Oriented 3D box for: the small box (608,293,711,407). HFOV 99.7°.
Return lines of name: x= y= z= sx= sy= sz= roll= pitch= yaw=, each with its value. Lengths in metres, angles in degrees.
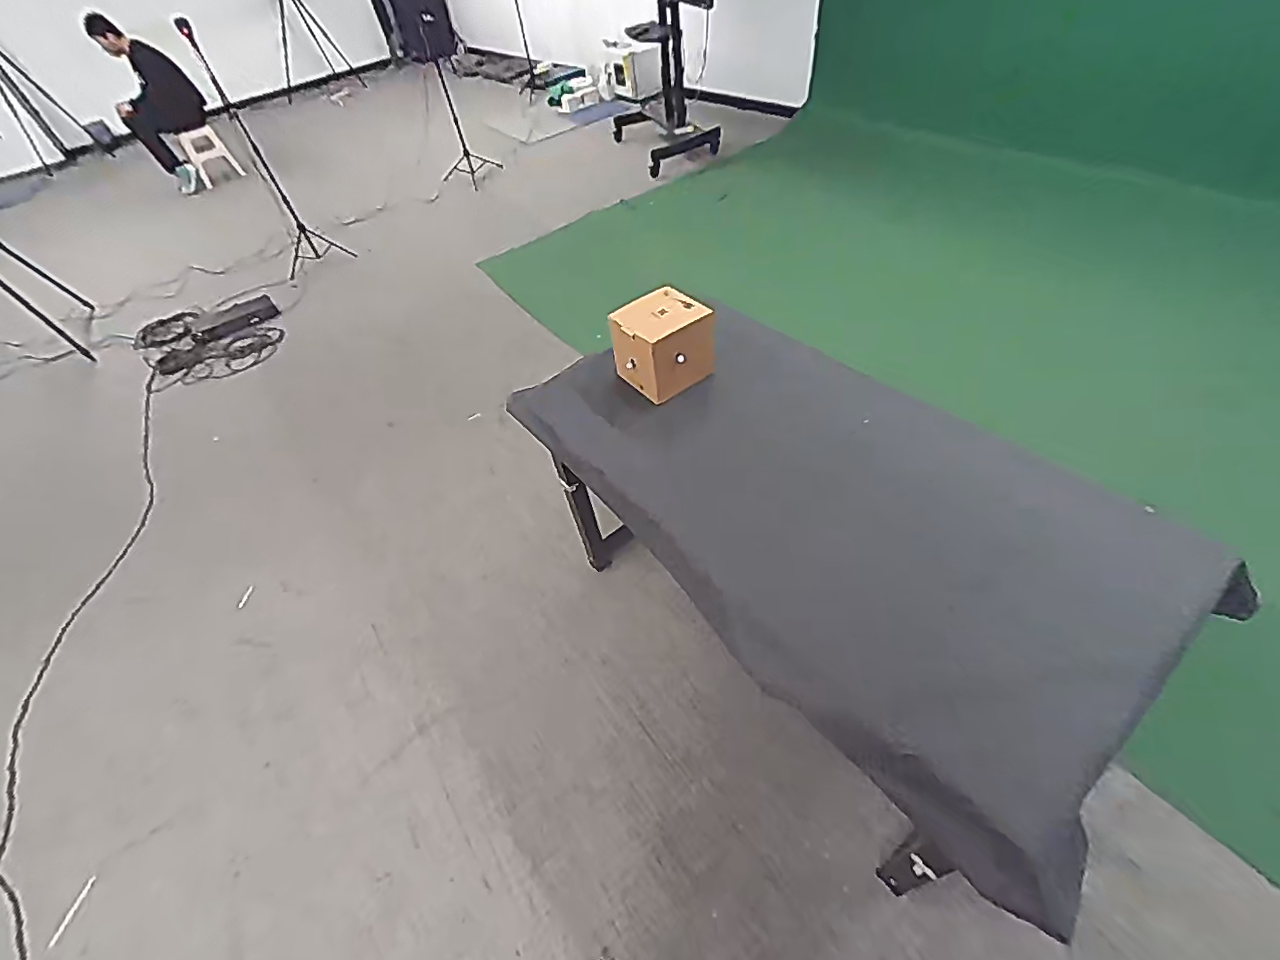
small box: x=0.053 y=-0.301 z=1.262 sx=0.179 sy=0.176 sz=0.168 roll=-33 pitch=52 yaw=-19
